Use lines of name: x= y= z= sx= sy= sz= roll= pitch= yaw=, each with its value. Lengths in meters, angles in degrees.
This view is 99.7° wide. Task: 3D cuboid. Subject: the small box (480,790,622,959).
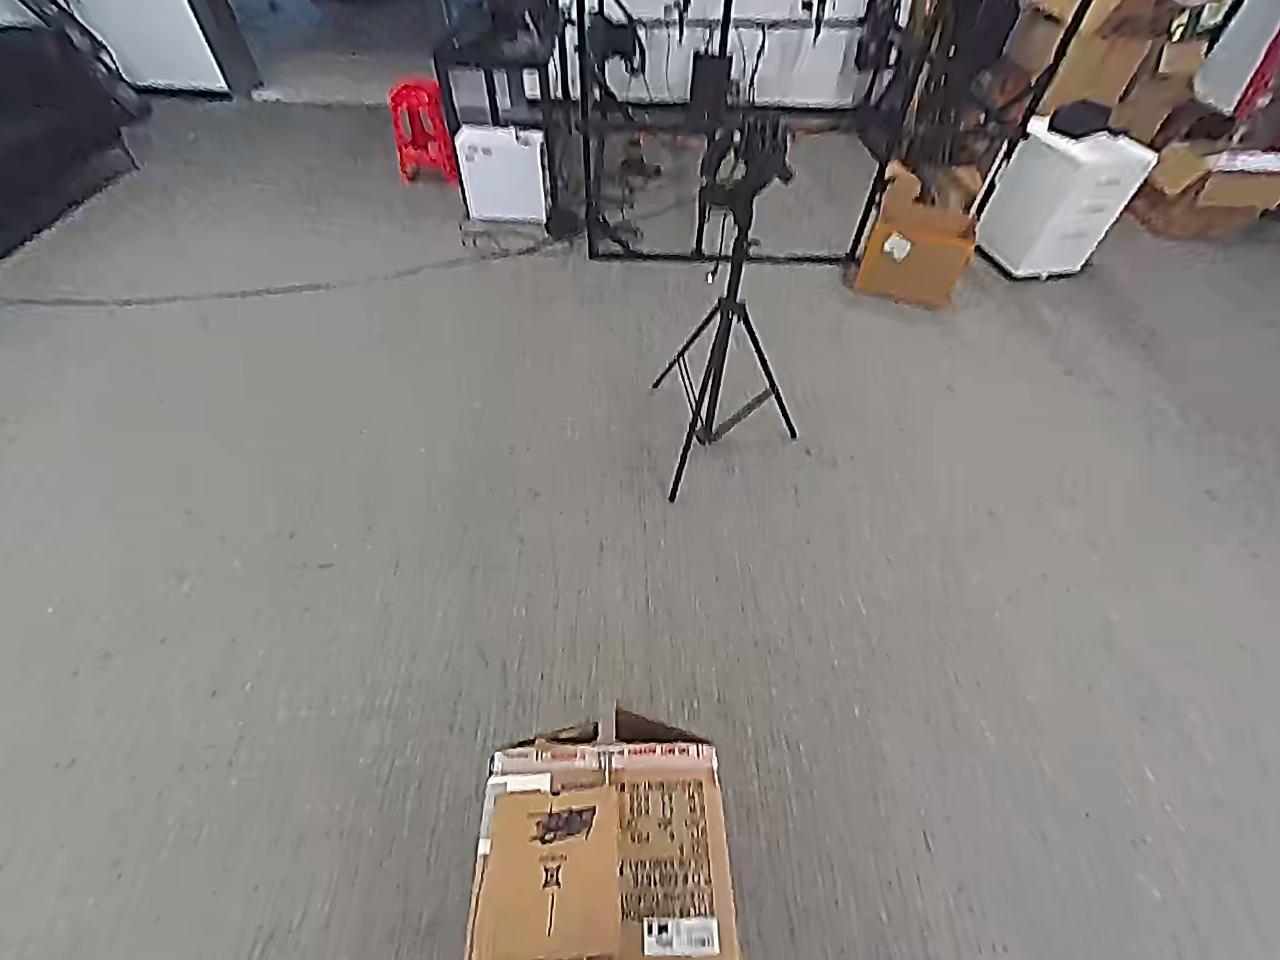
small box: x=-0.109 y=0.537 z=0.738 sx=0.168 sy=0.176 sz=0.179 roll=-1 pitch=54 yaw=-2
